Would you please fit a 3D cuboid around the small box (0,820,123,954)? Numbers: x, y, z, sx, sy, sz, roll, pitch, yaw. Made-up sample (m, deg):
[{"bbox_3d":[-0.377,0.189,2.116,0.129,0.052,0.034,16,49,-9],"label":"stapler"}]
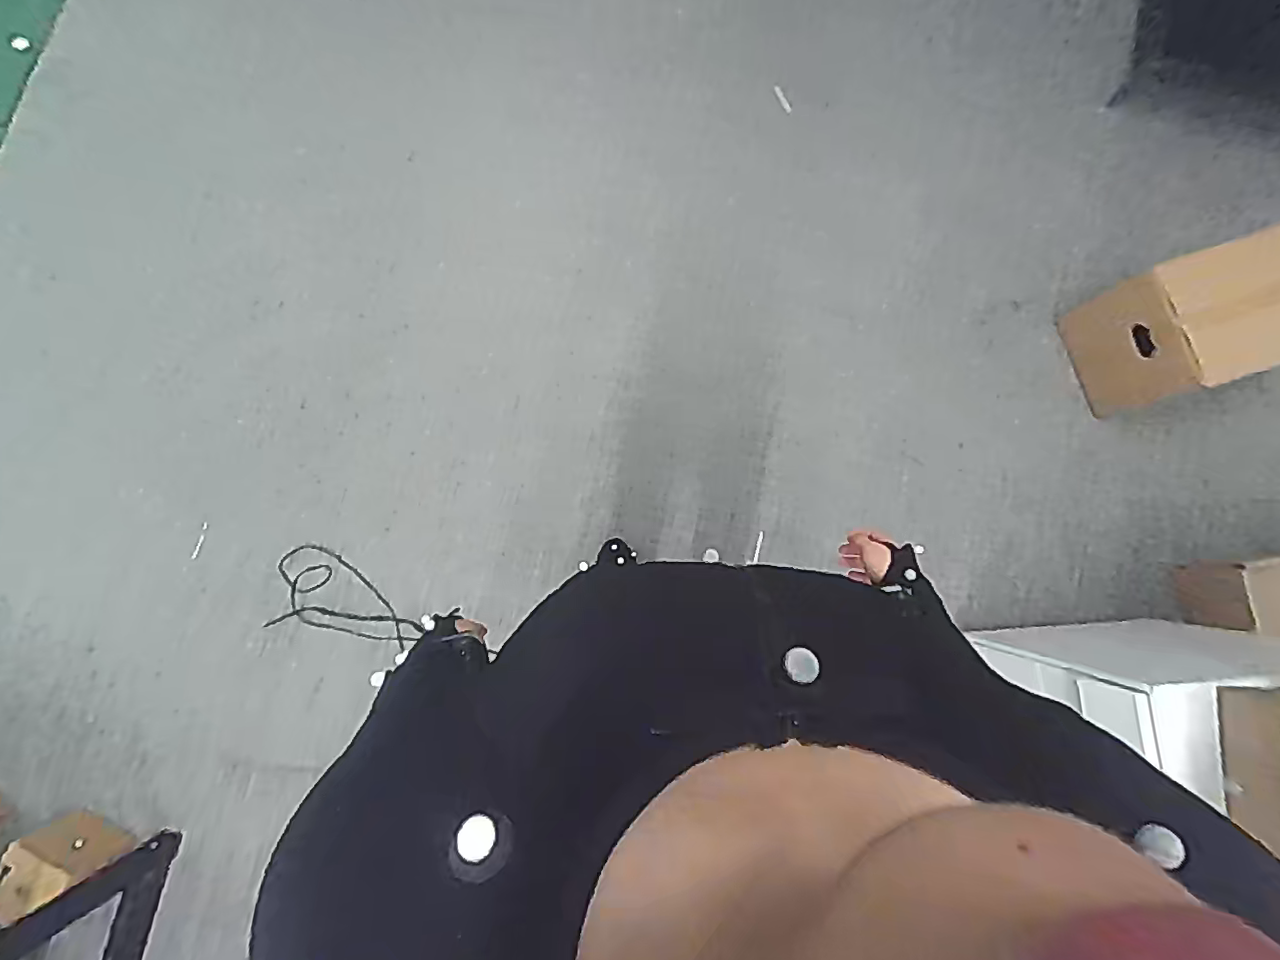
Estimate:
[{"bbox_3d":[-1.428,0.968,1.305,0.179,0.176,0.168,26,83,2],"label":"small box"}]
